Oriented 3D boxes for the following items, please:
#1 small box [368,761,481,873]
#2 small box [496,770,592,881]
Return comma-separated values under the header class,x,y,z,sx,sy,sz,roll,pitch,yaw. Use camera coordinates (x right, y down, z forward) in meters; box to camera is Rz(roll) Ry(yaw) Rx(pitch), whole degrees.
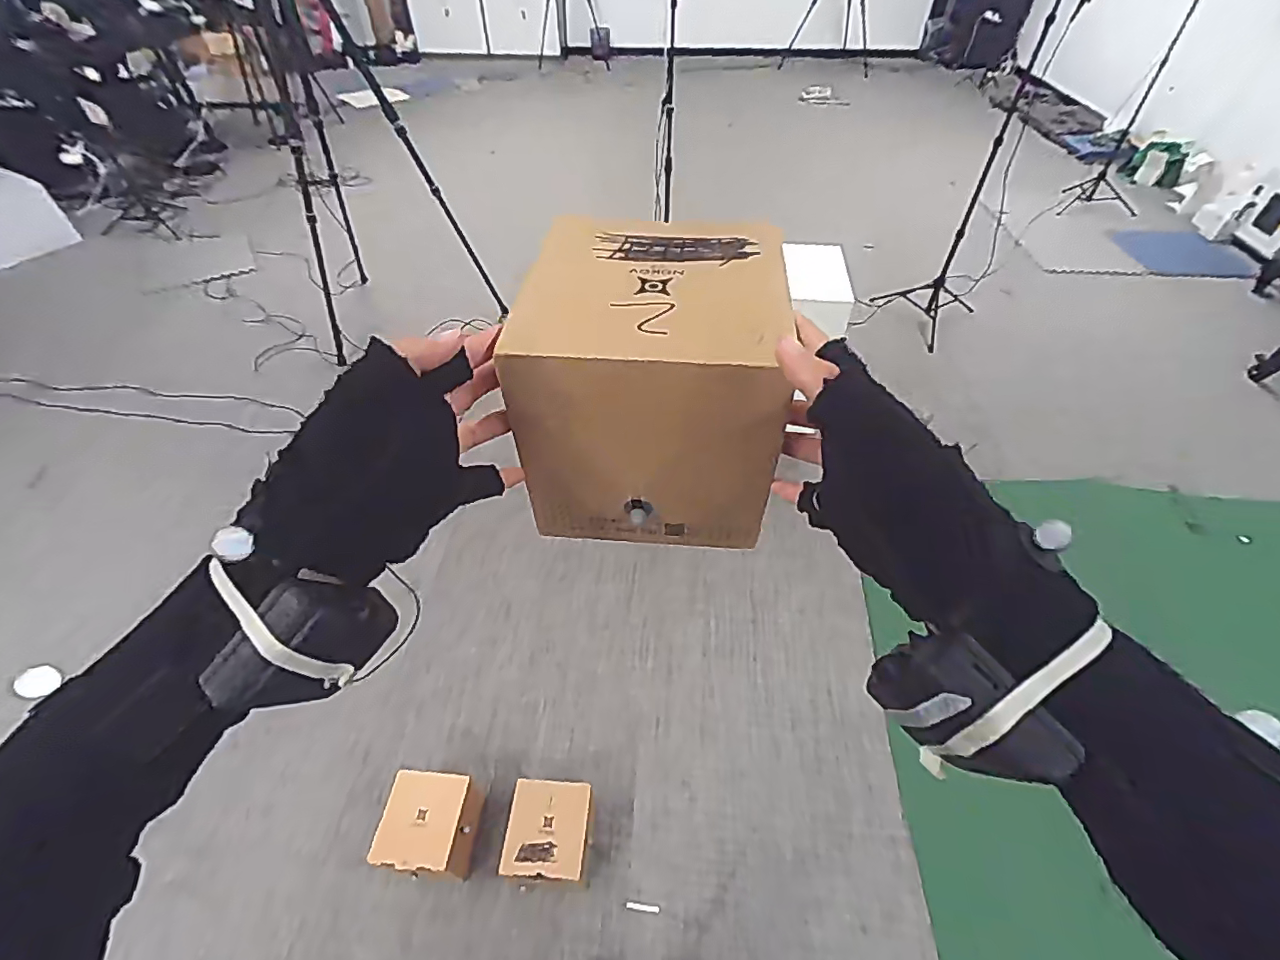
class,x,y,z,sx,sy,sz,roll,pitch,yaw
small box,-0.466,0.753,1.206,0.168,0.176,0.179,3,48,4
small box,-0.201,0.763,1.191,0.168,0.176,0.179,3,47,3
